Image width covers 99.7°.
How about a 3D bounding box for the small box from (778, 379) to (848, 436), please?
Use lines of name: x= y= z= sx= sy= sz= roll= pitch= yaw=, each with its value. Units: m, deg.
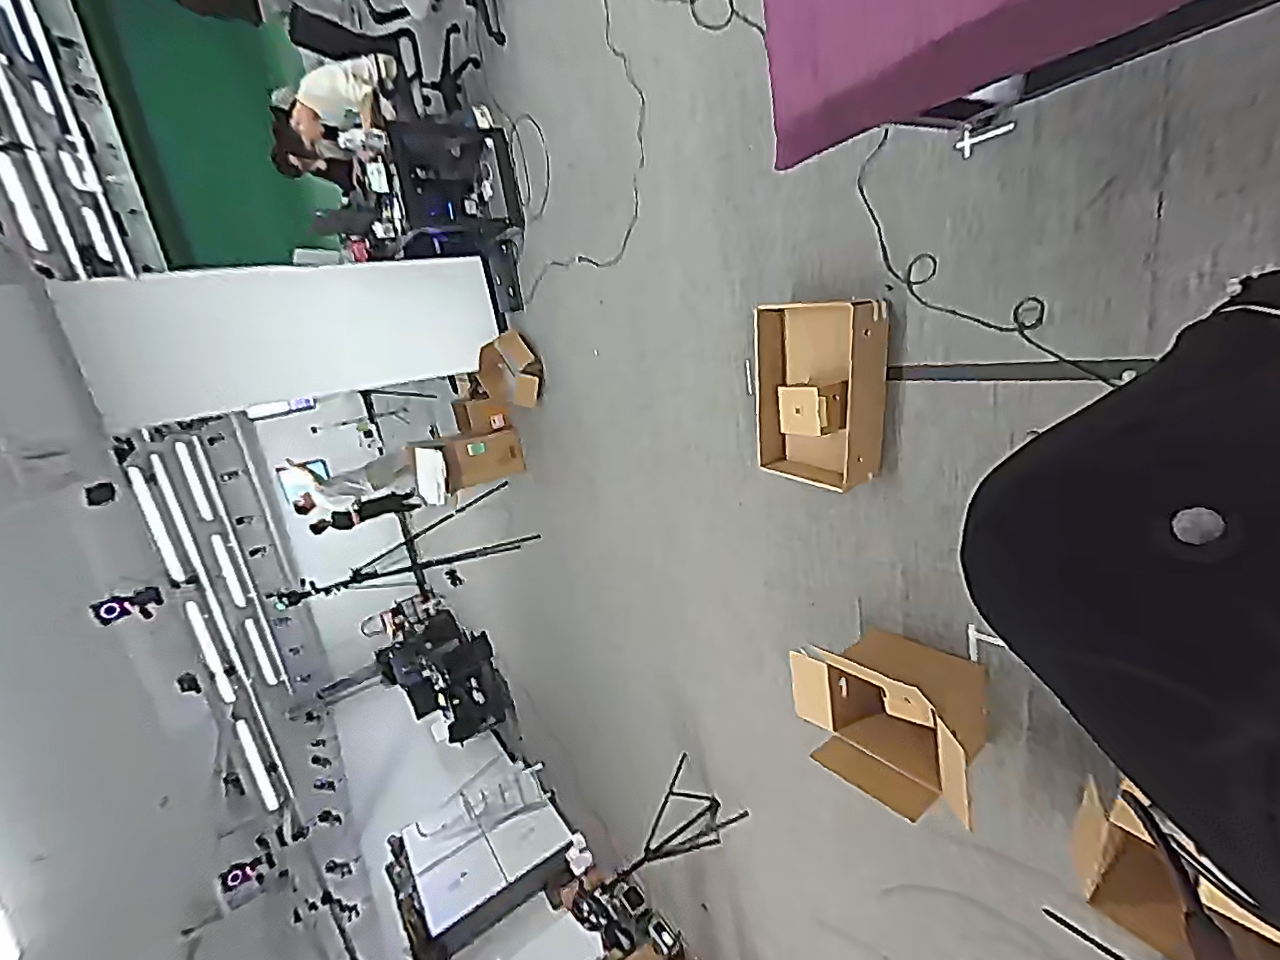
small box: x=0.605 y=-0.257 z=1.877 sx=0.179 sy=0.176 sz=0.168 roll=14 pitch=116 yaw=55
